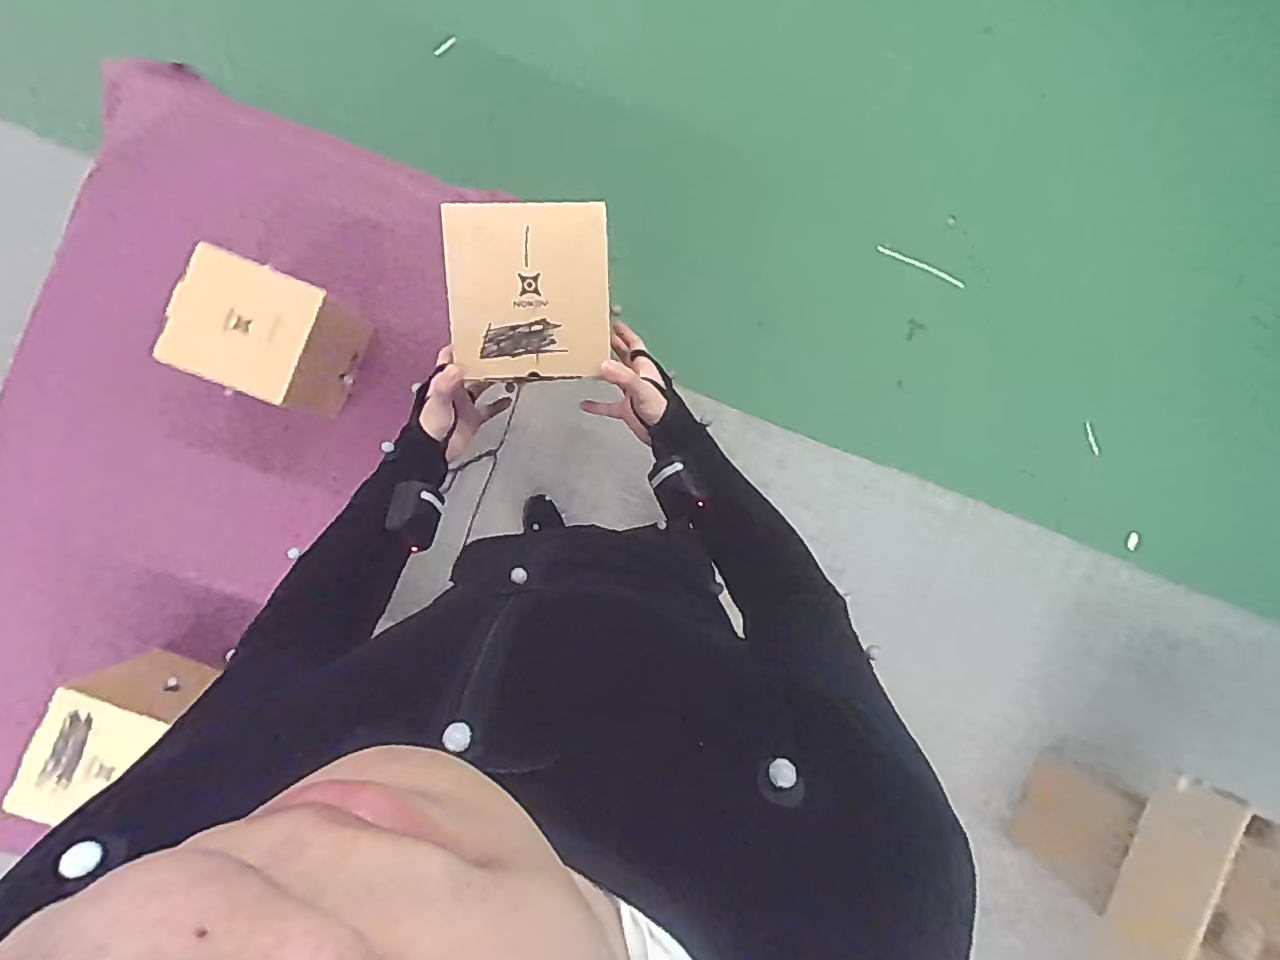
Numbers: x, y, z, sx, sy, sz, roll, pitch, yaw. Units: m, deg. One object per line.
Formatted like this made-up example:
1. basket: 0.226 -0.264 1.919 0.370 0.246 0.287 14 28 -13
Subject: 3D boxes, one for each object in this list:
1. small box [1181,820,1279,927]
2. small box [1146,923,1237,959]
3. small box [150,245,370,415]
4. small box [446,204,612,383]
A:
1. small box: 1.485 0.965 1.300 0.179 0.176 0.168 28 86 -5
2. small box: 1.363 1.216 1.288 0.179 0.176 0.168 26 87 -5
3. small box: -0.539 -0.204 0.794 0.179 0.176 0.168 21 89 -4
4. small box: -0.116 -0.204 0.635 0.168 0.176 0.179 -1 100 -3
